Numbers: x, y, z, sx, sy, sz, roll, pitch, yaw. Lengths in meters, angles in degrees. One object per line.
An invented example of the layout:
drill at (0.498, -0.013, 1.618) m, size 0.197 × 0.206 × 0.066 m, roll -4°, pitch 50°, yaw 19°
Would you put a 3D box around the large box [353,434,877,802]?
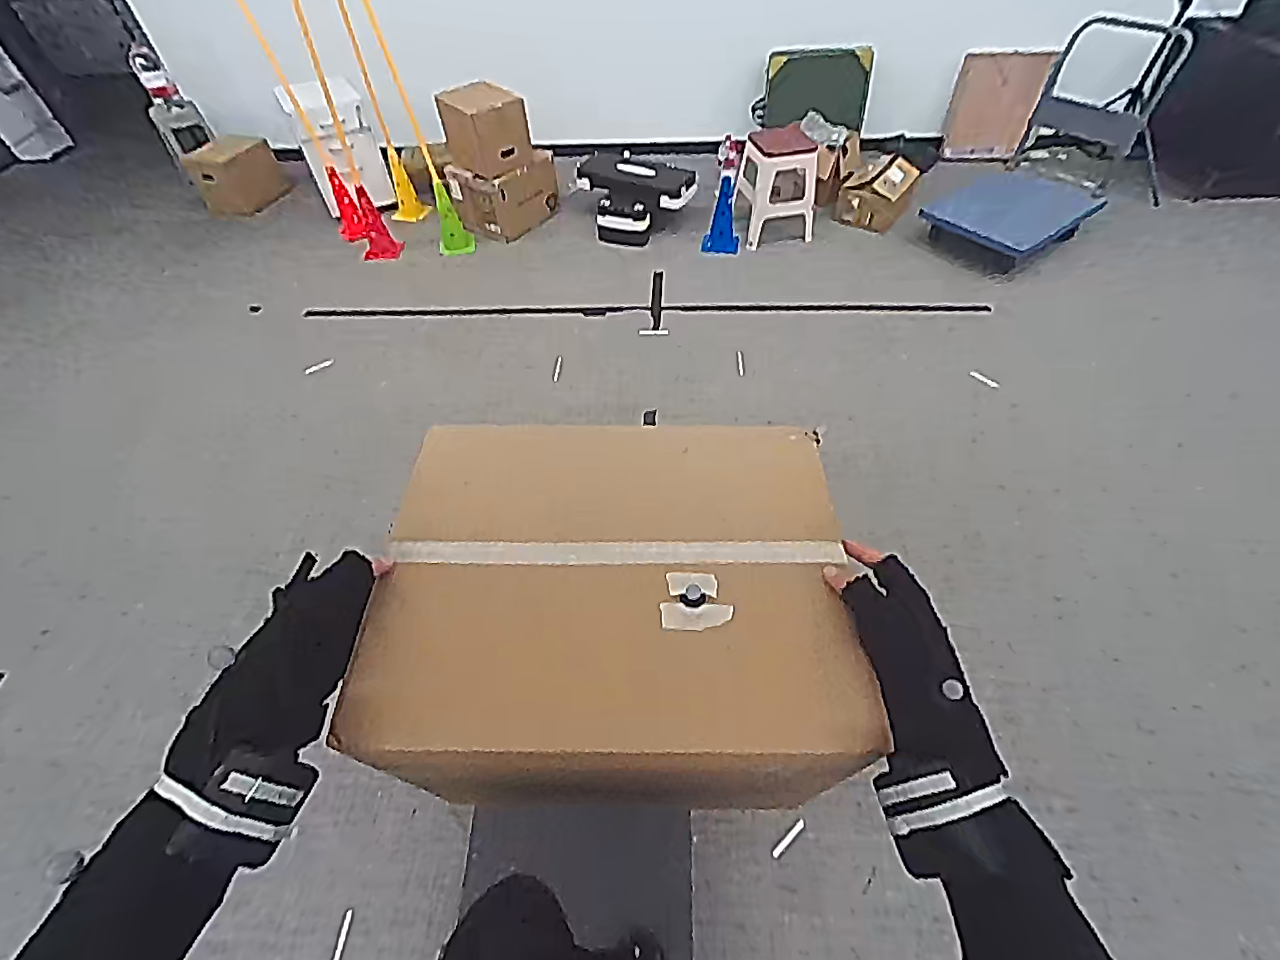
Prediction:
large box at (-0.020, 0.163, 0.610) m, size 0.408 × 0.320 × 0.320 m, roll 1°, pitch 53°, yaw 0°
